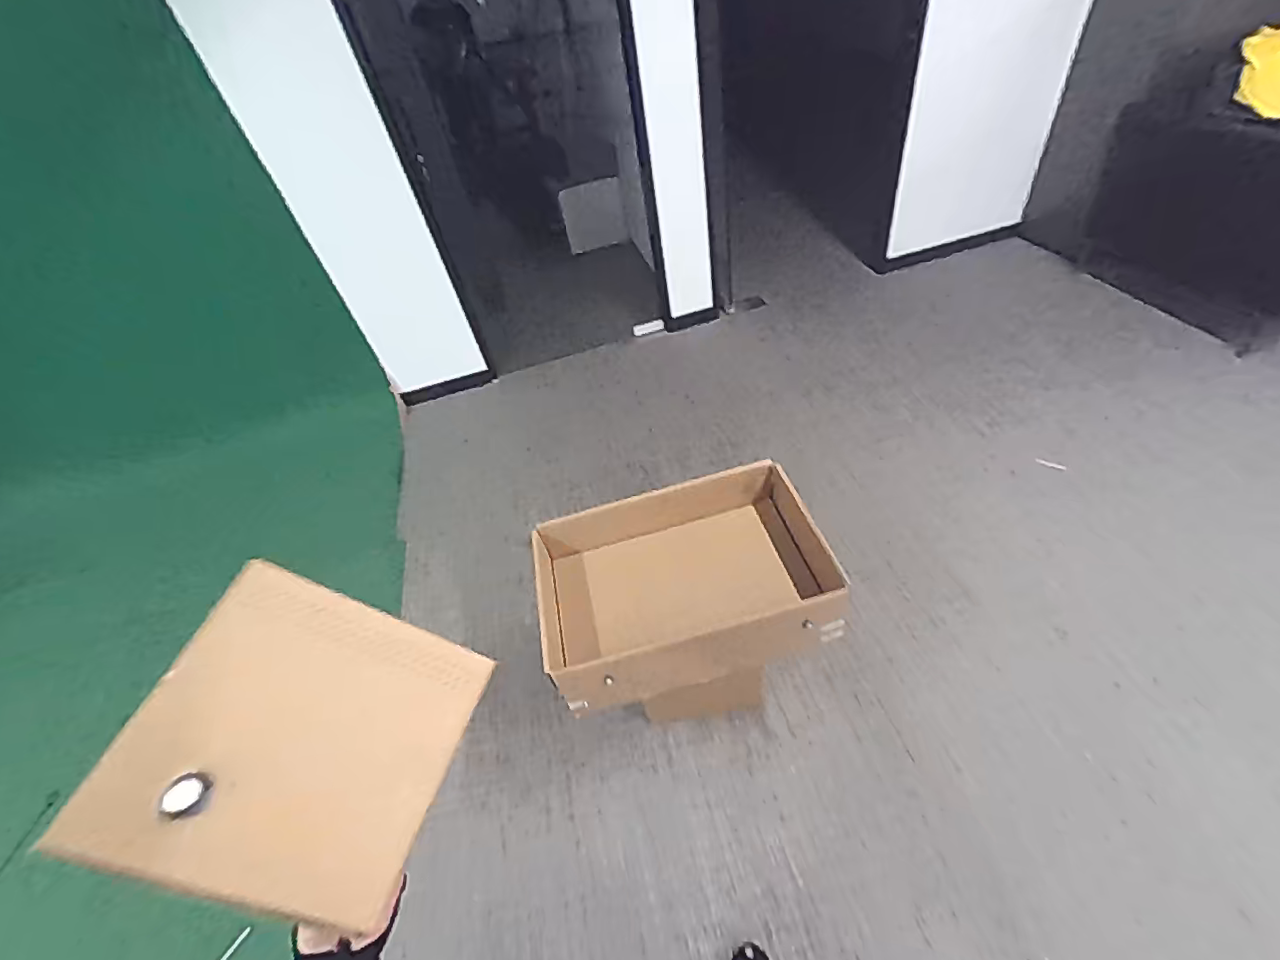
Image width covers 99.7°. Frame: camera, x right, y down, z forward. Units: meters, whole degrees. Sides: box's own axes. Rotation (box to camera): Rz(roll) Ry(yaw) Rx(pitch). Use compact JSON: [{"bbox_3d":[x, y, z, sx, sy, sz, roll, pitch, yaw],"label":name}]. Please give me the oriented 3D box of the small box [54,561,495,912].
[{"bbox_3d":[-0.239,0.173,0.401,0.179,0.168,0.176,32,57,-16],"label":"small box"}]
